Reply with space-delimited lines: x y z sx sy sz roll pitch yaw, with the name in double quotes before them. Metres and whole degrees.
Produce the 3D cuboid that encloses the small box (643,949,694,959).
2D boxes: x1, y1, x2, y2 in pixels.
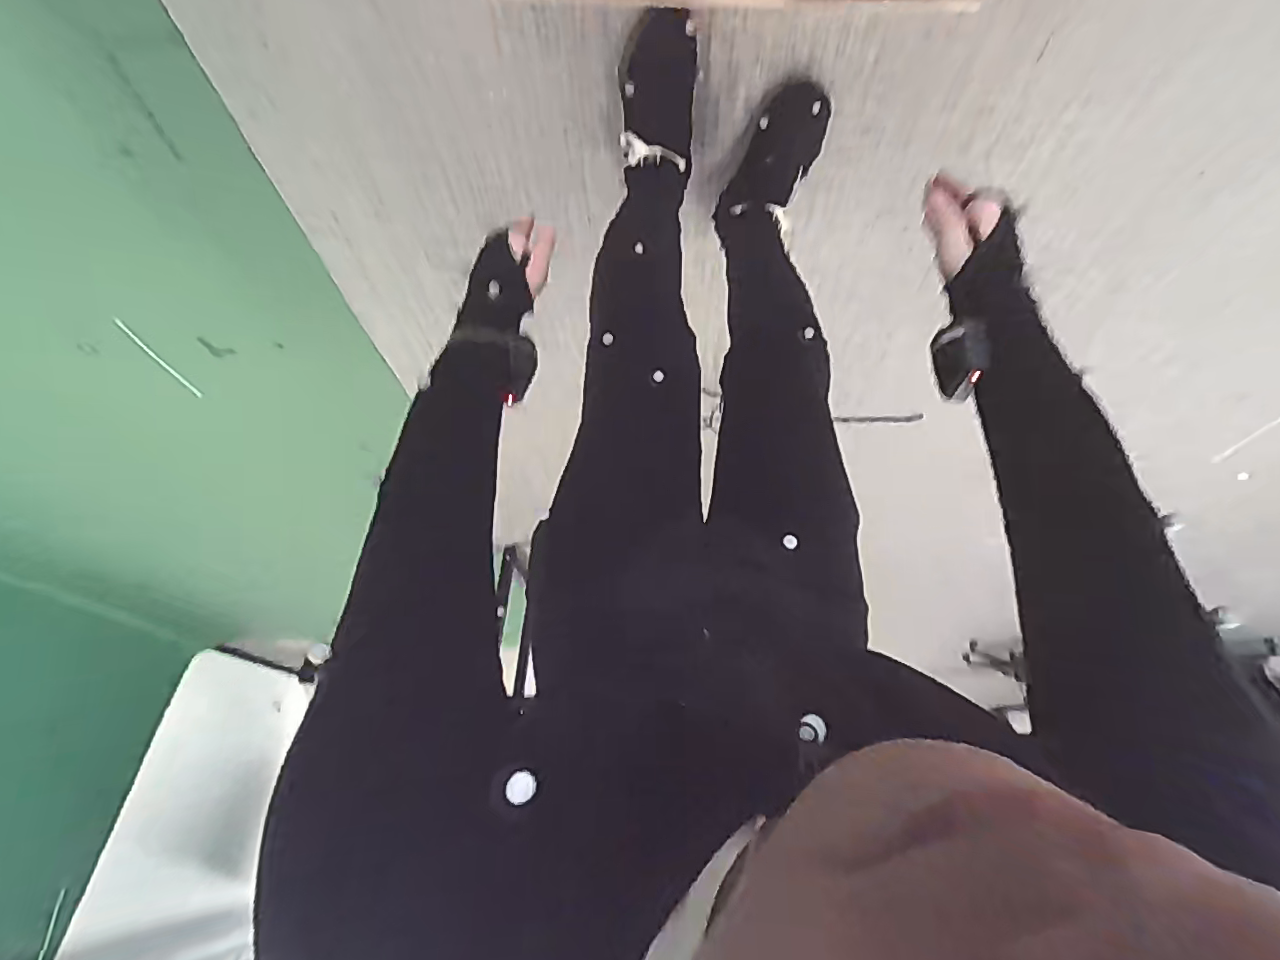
"small box" 0.100 1.726 1.838 0.179 0.176 0.168 -1 149 7
